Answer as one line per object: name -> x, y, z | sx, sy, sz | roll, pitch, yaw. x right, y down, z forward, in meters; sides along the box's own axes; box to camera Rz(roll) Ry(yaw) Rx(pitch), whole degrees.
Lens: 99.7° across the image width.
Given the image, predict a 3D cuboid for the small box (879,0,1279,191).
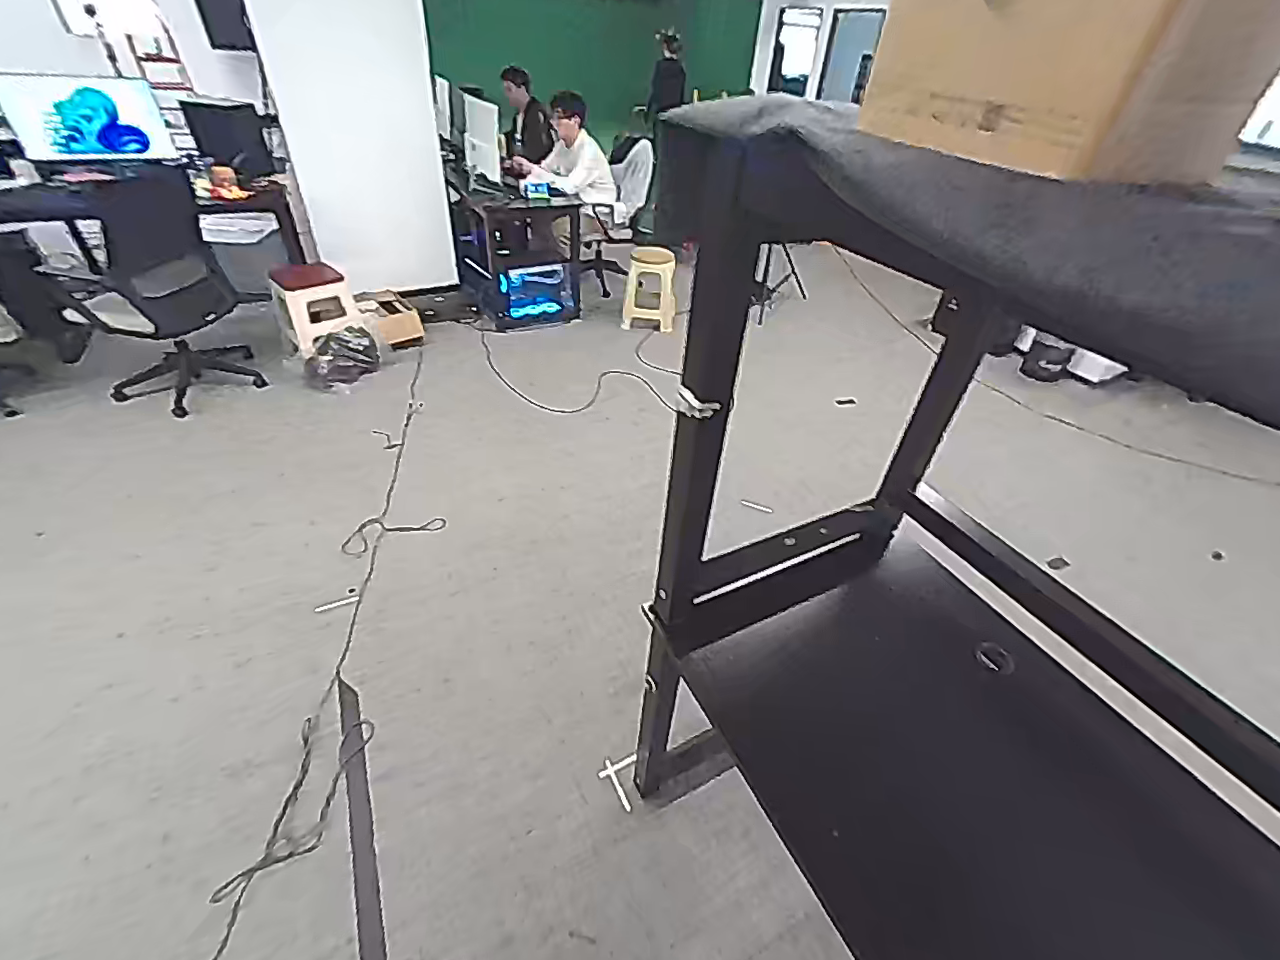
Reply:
small box -> 0.279, -0.287, 0.333 | 0.179, 0.176, 0.168 | -14, 43, -25
